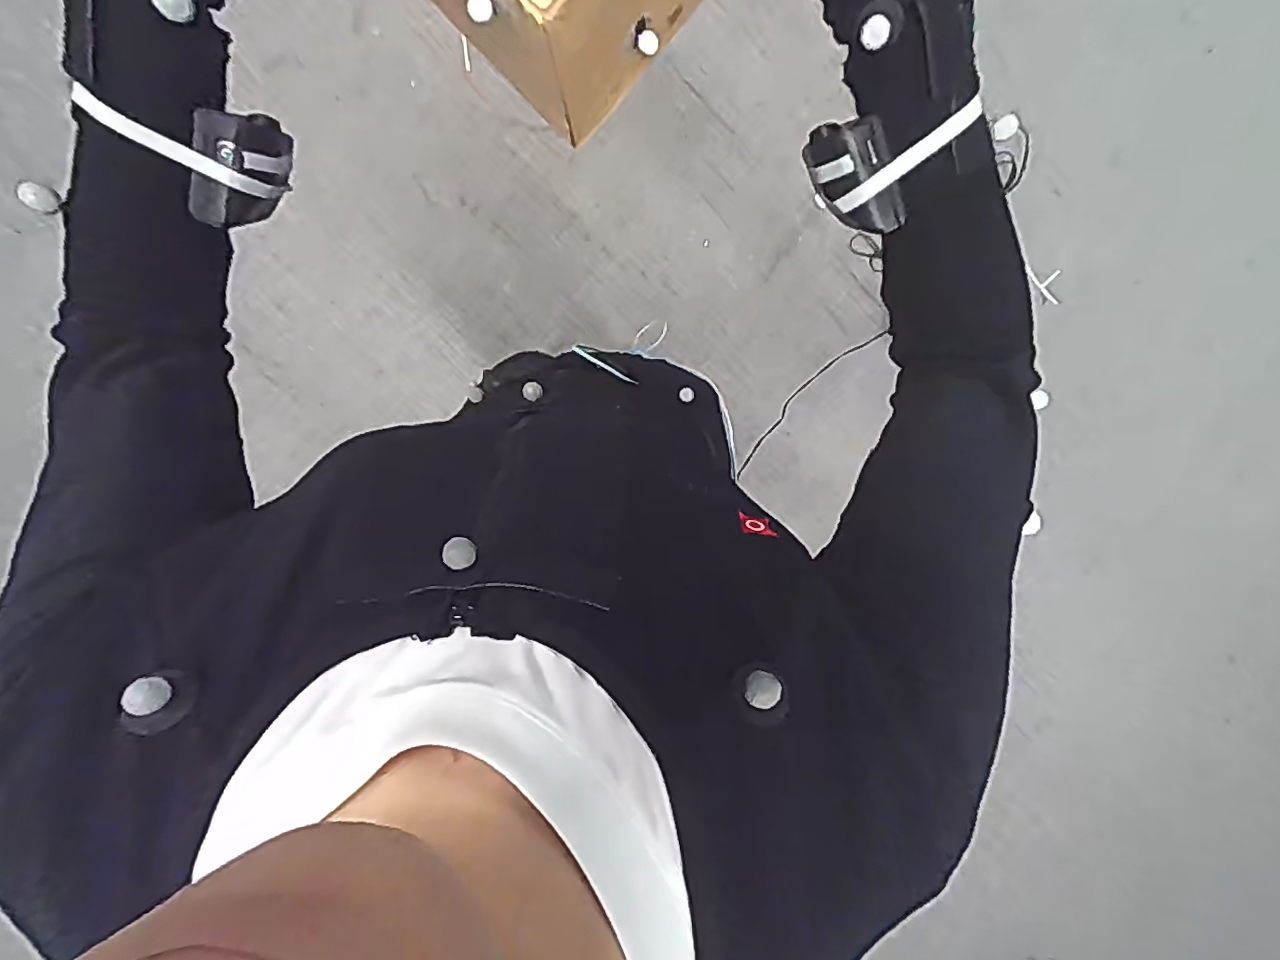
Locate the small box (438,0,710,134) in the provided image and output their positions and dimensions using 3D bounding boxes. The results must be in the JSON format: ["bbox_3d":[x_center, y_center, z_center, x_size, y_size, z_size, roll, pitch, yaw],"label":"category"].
[{"bbox_3d":[-0.050,-0.349,0.309,0.179,0.176,0.168,42,98,-11],"label":"small box"}]
